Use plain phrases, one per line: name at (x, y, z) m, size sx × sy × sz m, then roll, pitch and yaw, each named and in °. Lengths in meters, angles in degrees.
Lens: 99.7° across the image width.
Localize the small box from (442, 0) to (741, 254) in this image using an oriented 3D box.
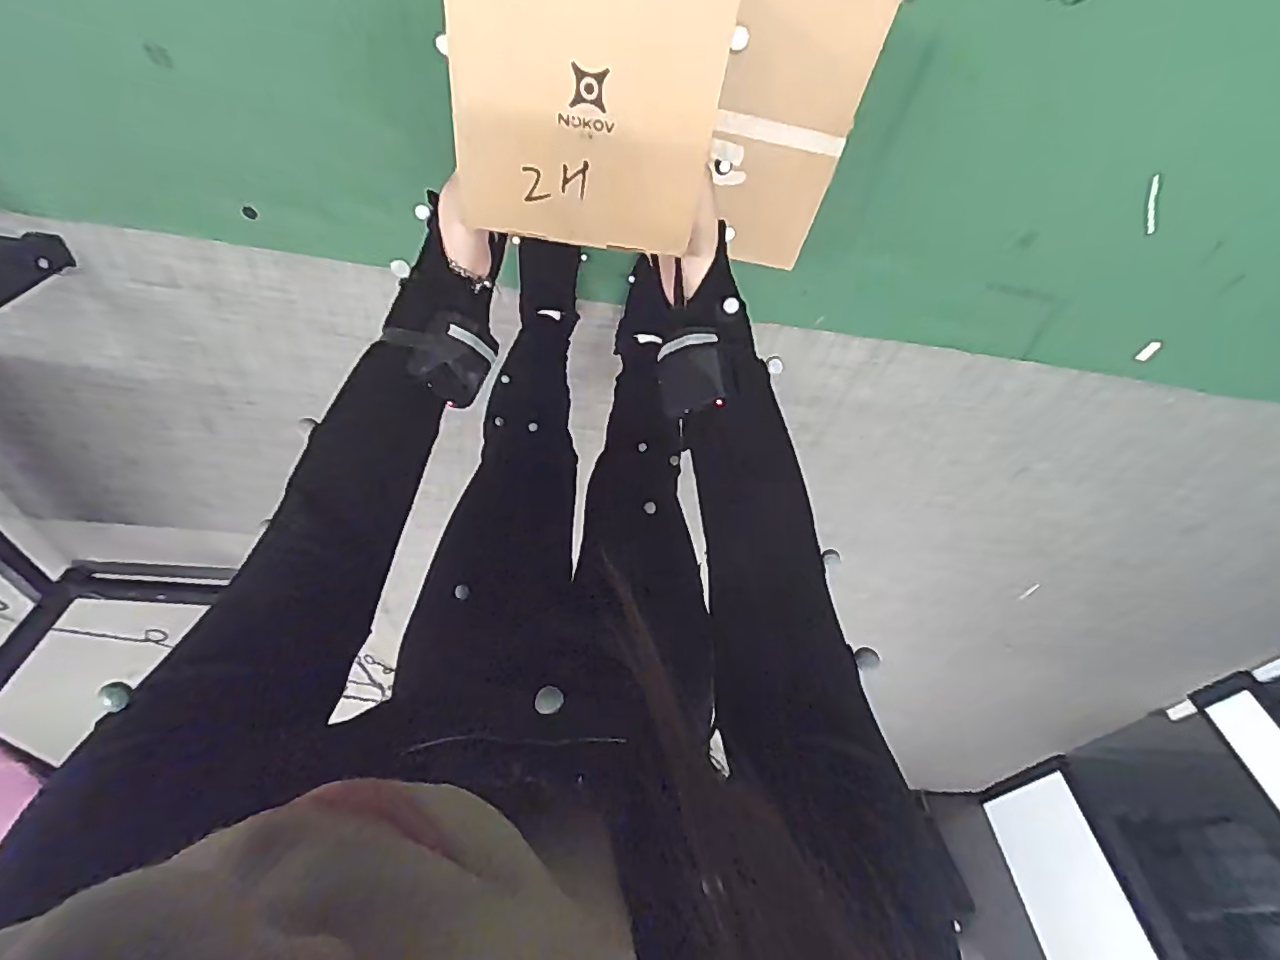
small box at (-0.037, -0.290, 0.383) m, size 0.168 × 0.176 × 0.179 m, roll 6°, pitch 134°, yaw -7°

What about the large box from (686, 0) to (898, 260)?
large box at (0.044, -0.534, 0.718) m, size 0.408 × 0.320 × 0.320 m, roll 7°, pitch 135°, yaw -9°
